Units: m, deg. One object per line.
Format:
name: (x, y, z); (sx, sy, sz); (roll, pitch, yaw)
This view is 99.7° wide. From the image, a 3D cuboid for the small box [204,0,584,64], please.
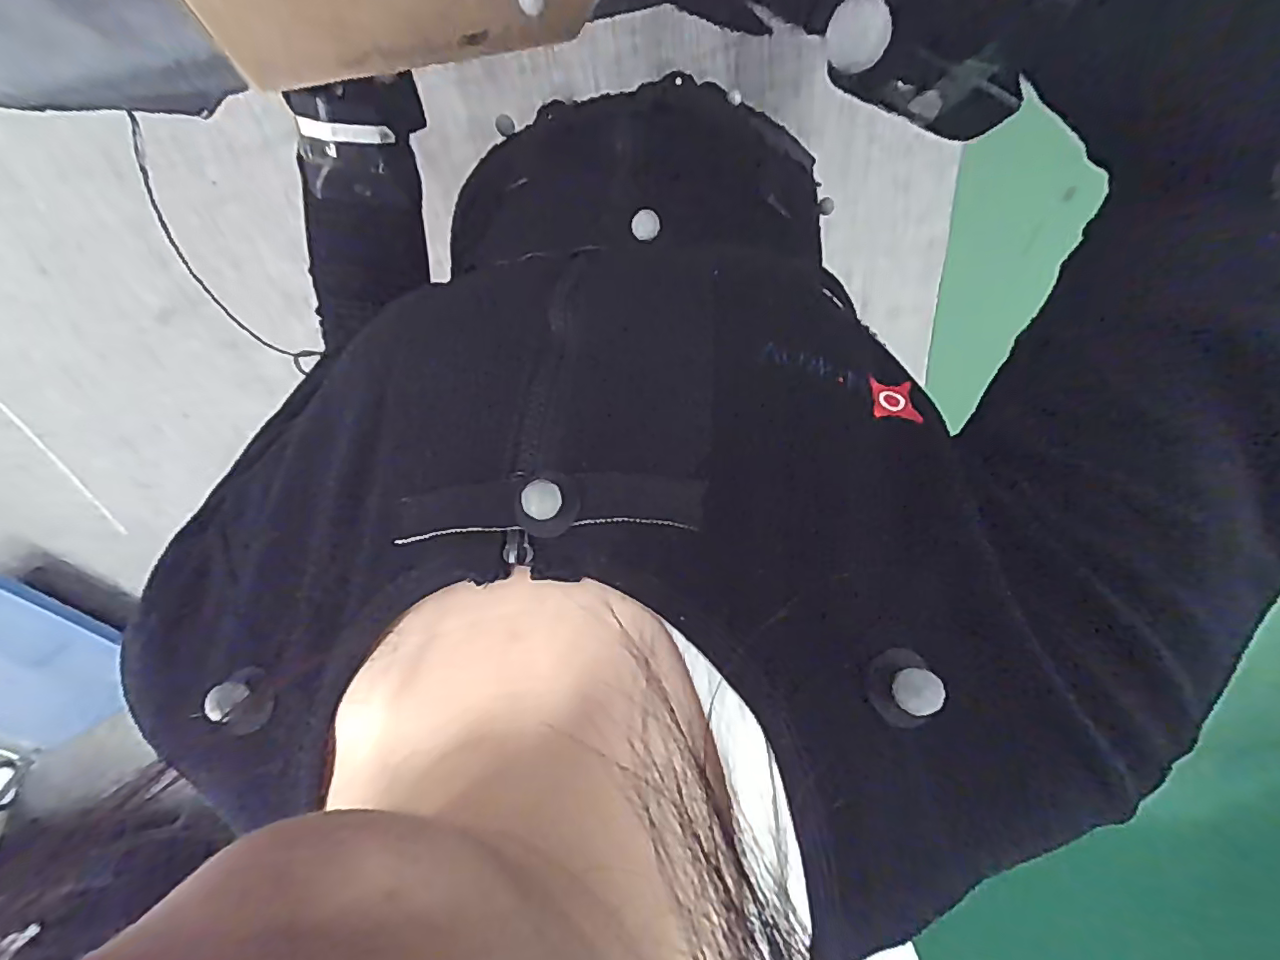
small box: (-0.096, -0.263, 0.168); (0.168, 0.176, 0.179); (-22, 114, -15)
